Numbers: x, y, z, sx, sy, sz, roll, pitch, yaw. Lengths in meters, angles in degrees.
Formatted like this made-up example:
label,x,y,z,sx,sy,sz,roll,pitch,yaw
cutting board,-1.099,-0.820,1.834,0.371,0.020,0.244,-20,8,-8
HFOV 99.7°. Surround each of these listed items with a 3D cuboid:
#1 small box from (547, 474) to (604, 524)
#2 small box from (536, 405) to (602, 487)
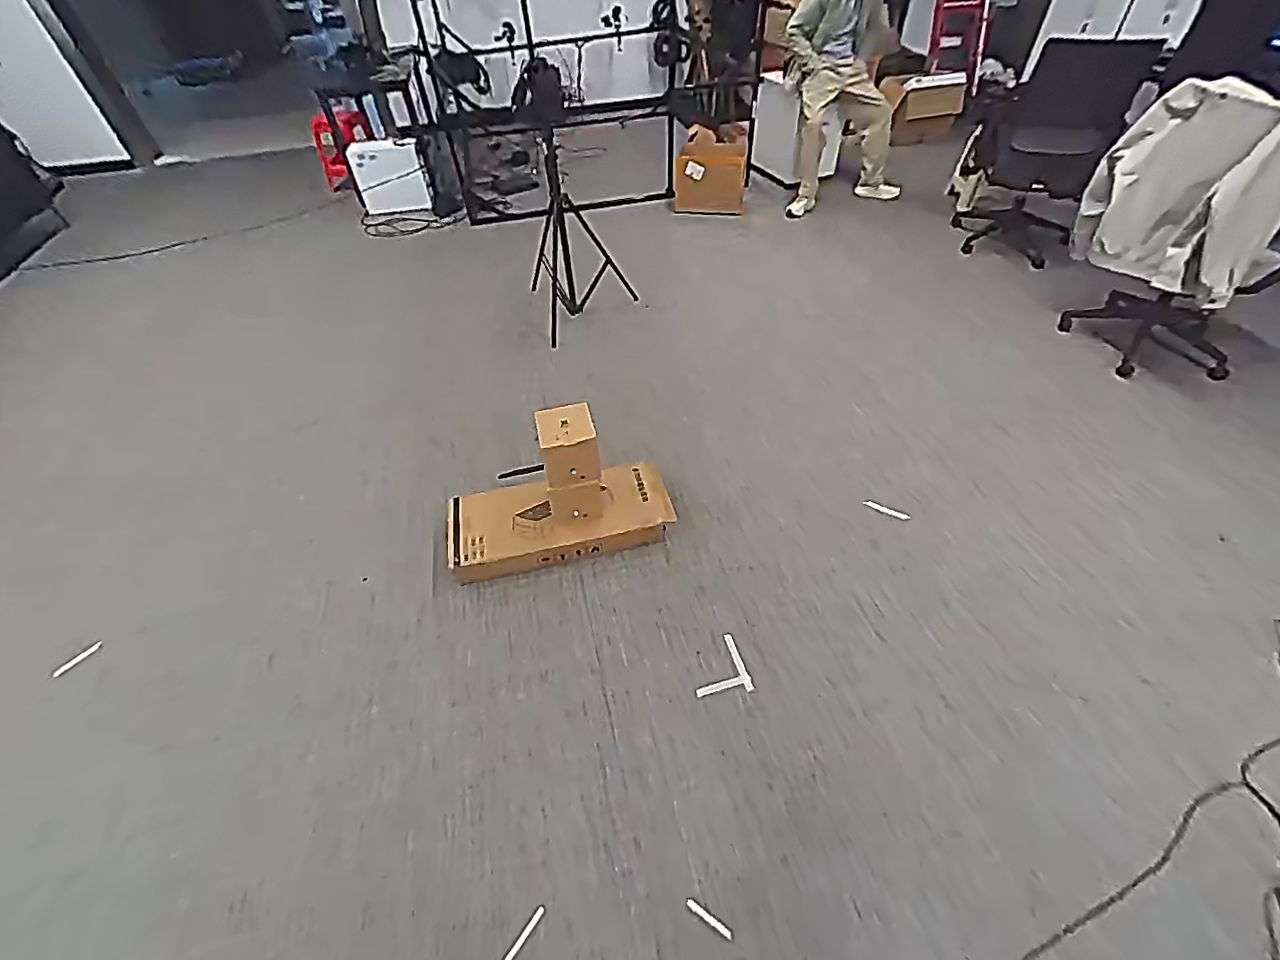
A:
label,x,y,z,sx,sy,sz,roll,pitch,yaw
small box,-0.215,0.020,1.784,0.168,0.176,0.179,-9,48,-5
small box,-0.220,-0.105,1.674,0.168,0.176,0.179,-12,47,-8
